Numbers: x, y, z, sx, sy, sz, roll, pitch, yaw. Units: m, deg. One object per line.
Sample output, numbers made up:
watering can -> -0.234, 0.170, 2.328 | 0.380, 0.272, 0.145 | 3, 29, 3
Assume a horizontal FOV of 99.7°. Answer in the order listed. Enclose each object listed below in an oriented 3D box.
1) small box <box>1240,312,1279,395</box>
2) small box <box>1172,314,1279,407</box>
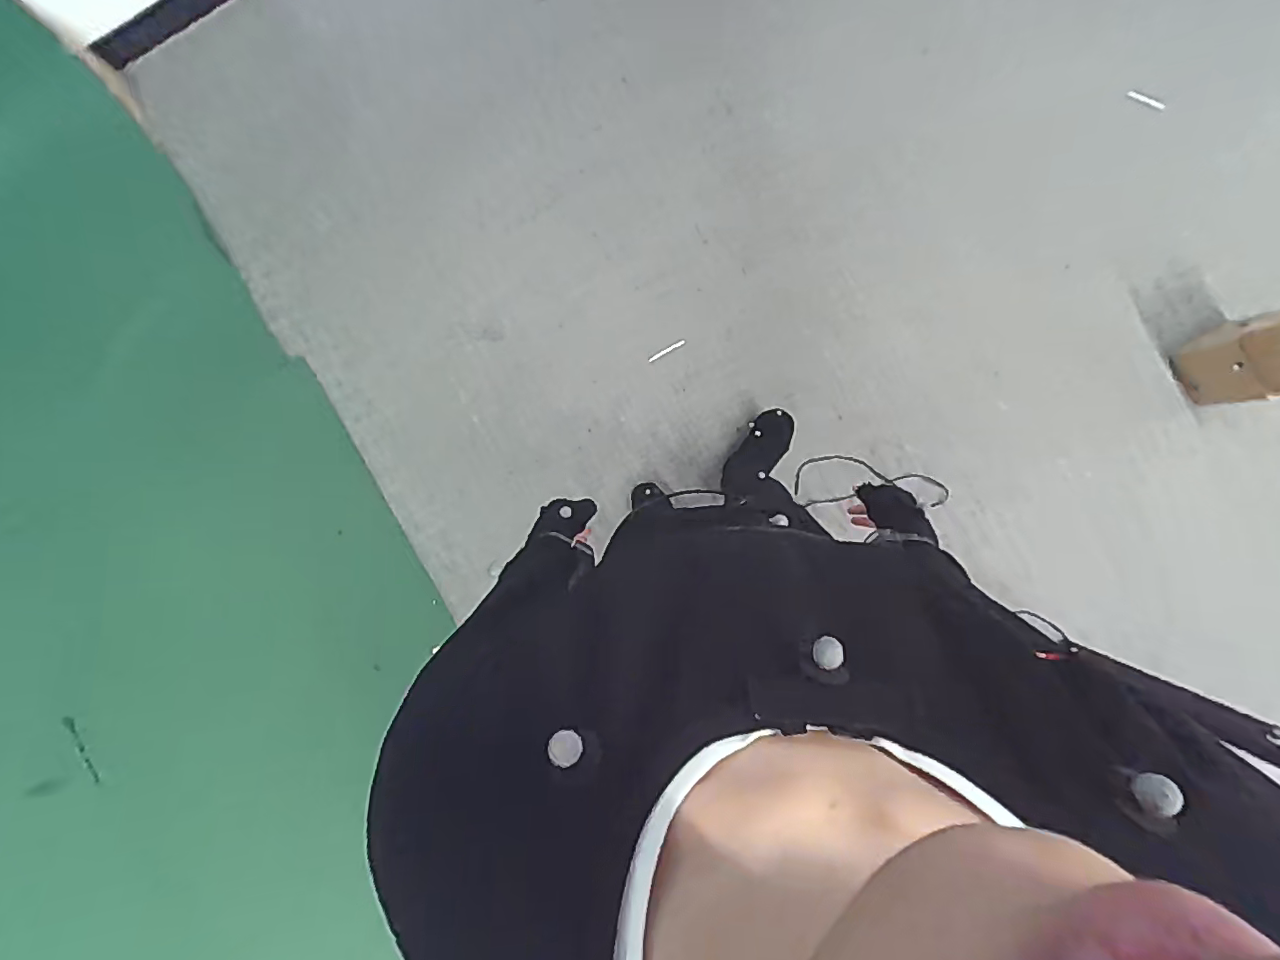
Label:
small box -> 1.506, -0.307, 1.187 | 0.168, 0.176, 0.179 | -30, 91, 2
small box -> 1.514, -0.298, 1.350 | 0.179, 0.176, 0.168 | -30, 90, 1
